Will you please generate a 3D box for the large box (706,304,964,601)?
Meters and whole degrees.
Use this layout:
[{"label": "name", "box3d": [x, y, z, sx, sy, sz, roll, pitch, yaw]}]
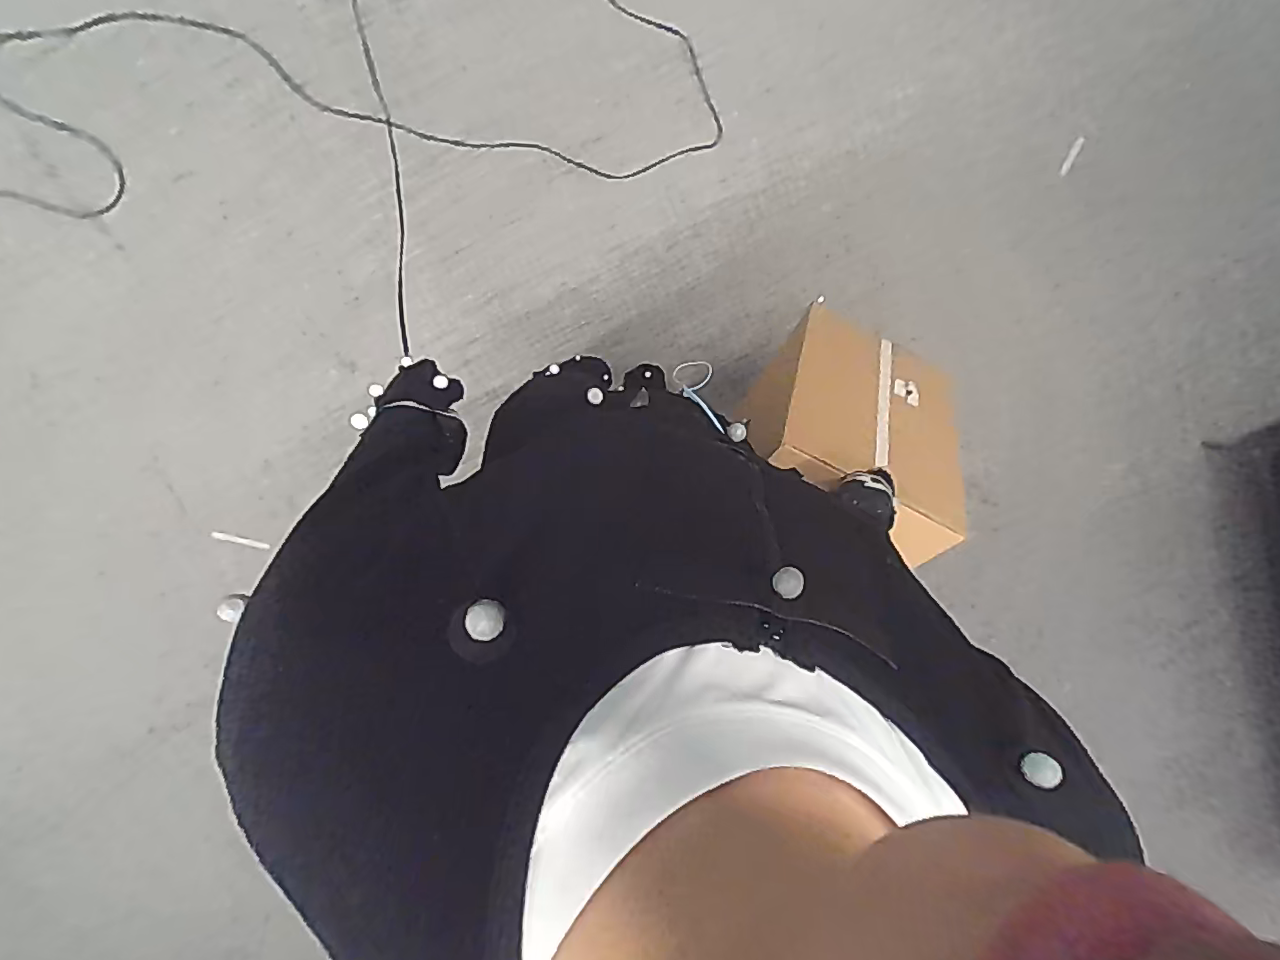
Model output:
[{"label": "large box", "box3d": [0.355, -0.047, 1.031, 0.320, 0.408, 0.320, 26, 141, -4]}]
